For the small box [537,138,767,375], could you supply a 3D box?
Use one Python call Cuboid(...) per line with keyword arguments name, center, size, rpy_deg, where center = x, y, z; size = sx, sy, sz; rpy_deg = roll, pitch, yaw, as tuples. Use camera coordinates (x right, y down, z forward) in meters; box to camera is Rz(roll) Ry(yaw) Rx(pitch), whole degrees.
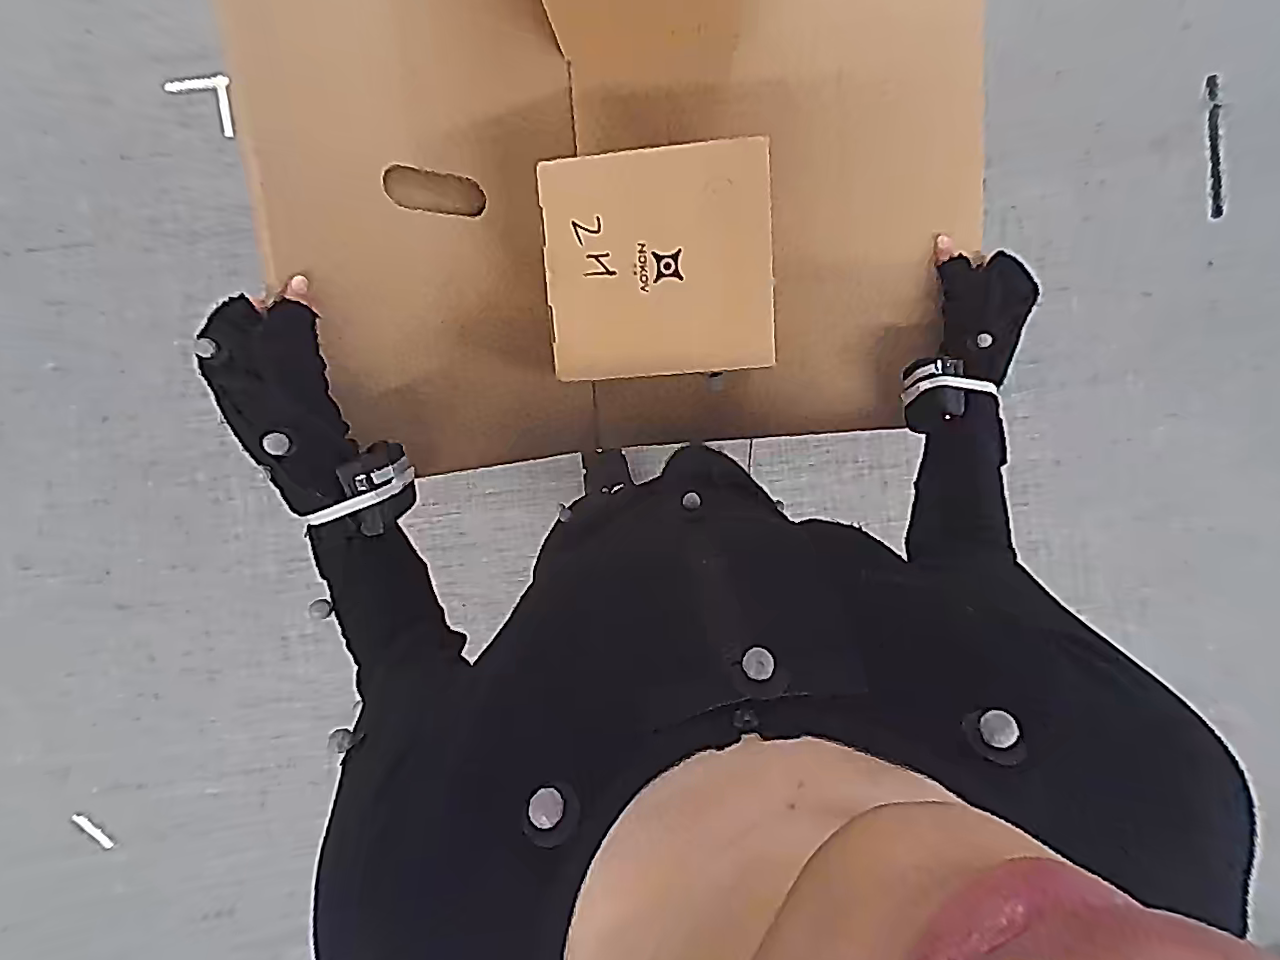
Cuboid(name="small box", center=(0.017, -0.186, 0.501), size=(0.179, 0.176, 0.168), rpy_deg=(-2, 99, 7))
